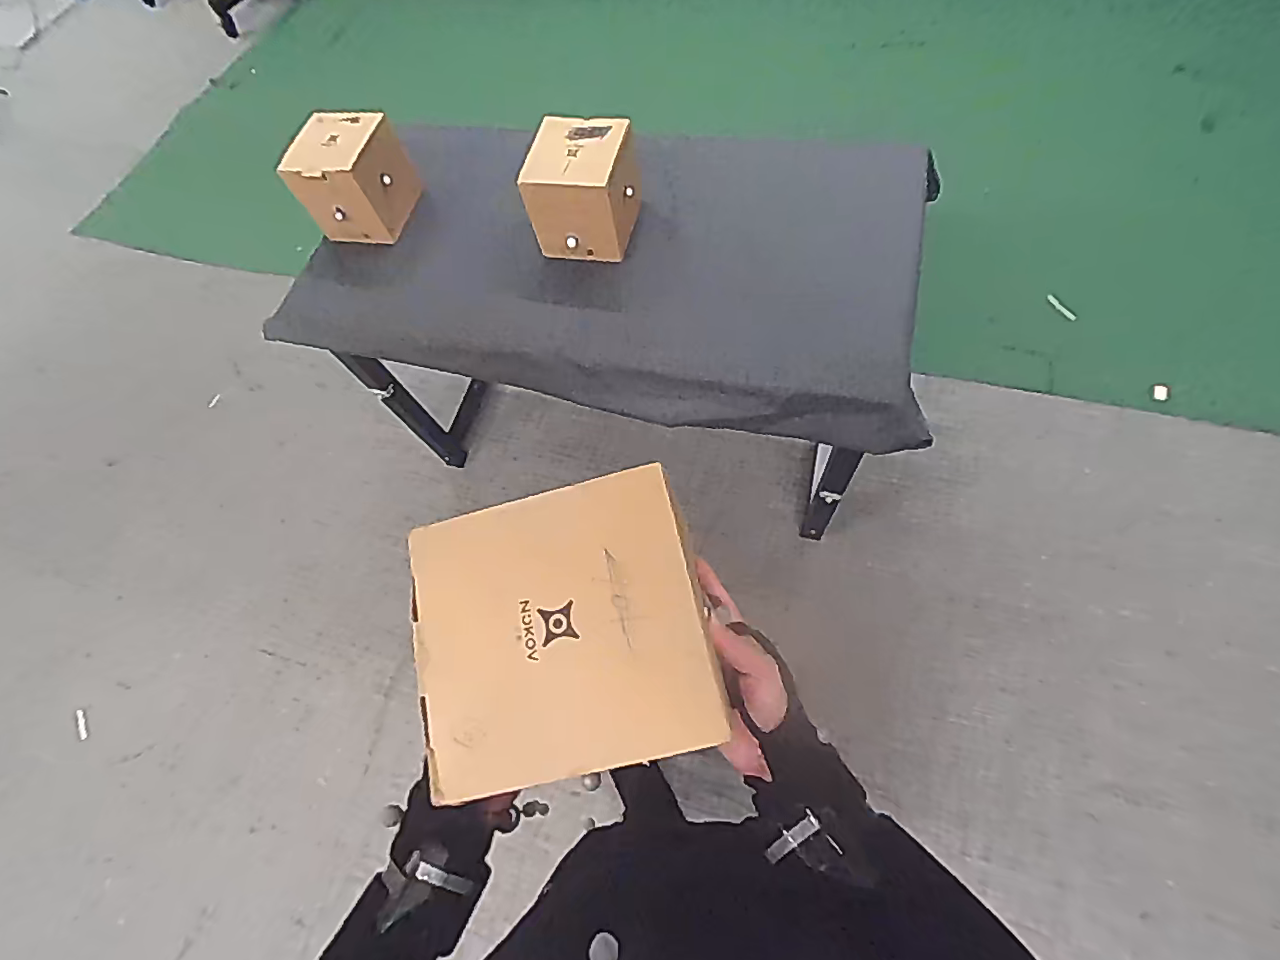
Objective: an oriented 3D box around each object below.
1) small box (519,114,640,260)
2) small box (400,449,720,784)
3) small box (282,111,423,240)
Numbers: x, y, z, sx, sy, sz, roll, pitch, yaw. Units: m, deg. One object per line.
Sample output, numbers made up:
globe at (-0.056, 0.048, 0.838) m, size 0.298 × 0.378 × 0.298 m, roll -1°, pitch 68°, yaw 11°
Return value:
small box at (-0.101, -0.547, 1.016) m, size 0.168 × 0.176 × 0.179 m, roll 9°, pitch 69°, yaw 13°
small box at (-0.045, 0.099, 0.397) m, size 0.179 × 0.176 × 0.168 m, roll -15°, pitch 73°, yaw 4°
small box at (-0.583, -0.626, 1.124) m, size 0.168 × 0.176 × 0.179 m, roll 8°, pitch 68°, yaw 11°
